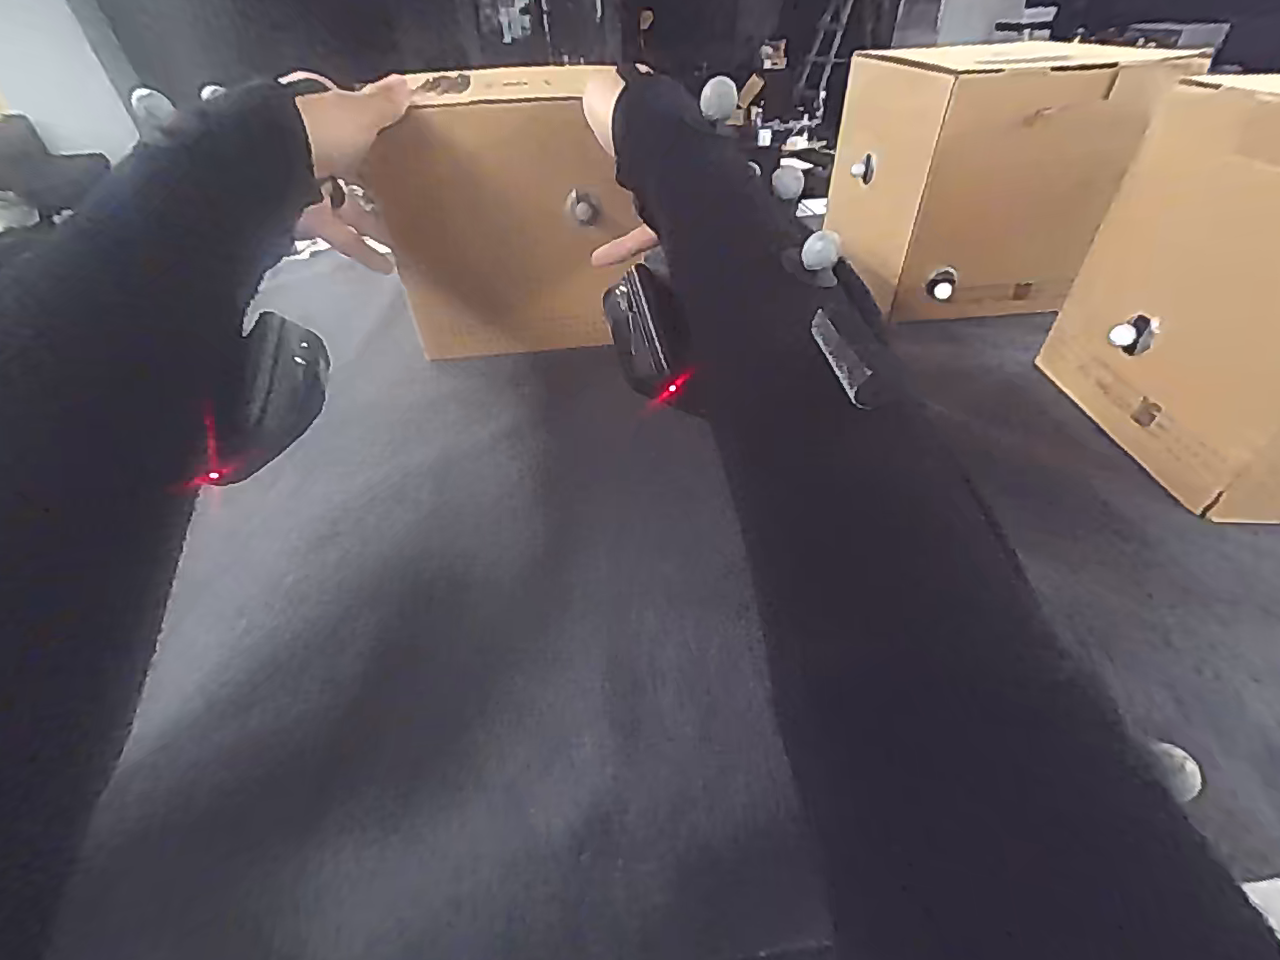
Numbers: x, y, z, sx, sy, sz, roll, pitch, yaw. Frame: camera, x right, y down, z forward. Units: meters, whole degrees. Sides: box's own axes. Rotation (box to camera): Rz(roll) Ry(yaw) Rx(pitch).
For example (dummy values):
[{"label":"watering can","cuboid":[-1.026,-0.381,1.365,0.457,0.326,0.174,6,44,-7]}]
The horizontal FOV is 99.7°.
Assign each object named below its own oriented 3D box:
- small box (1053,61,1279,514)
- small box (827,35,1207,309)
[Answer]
[{"label":"small box","cuboid":[0.363,-0.095,0.264,0.179,0.176,0.168,0,40,5]},{"label":"small box","cuboid":[0.273,-0.252,0.450,0.168,0.176,0.179,-5,41,-1]}]
